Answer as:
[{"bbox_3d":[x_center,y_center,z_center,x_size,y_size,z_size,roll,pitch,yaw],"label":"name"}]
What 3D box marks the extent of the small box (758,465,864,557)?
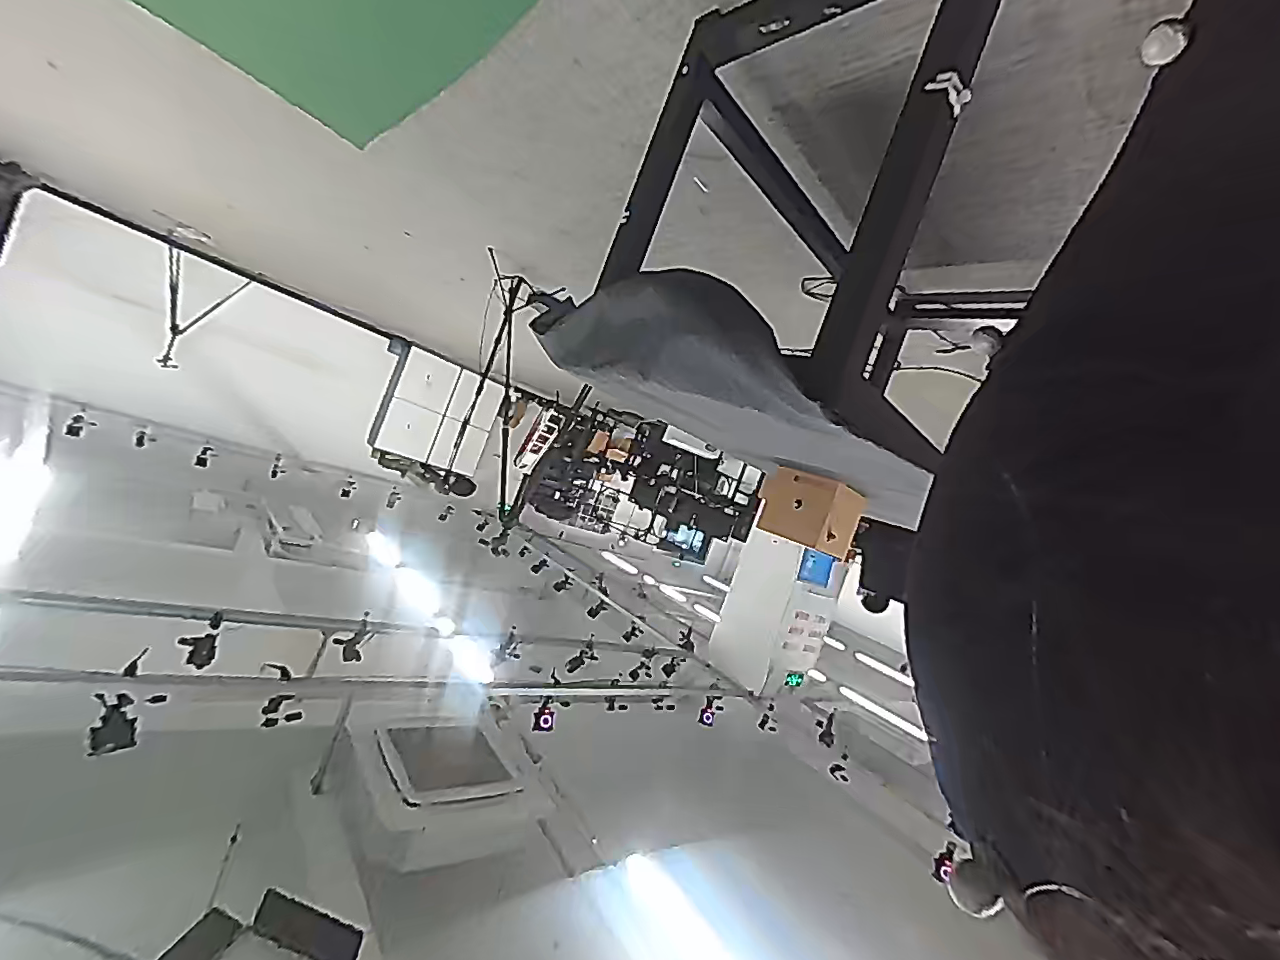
[{"bbox_3d":[0.425,0.073,1.336,0.168,0.176,0.179,21,180,45],"label":"small box"}]
